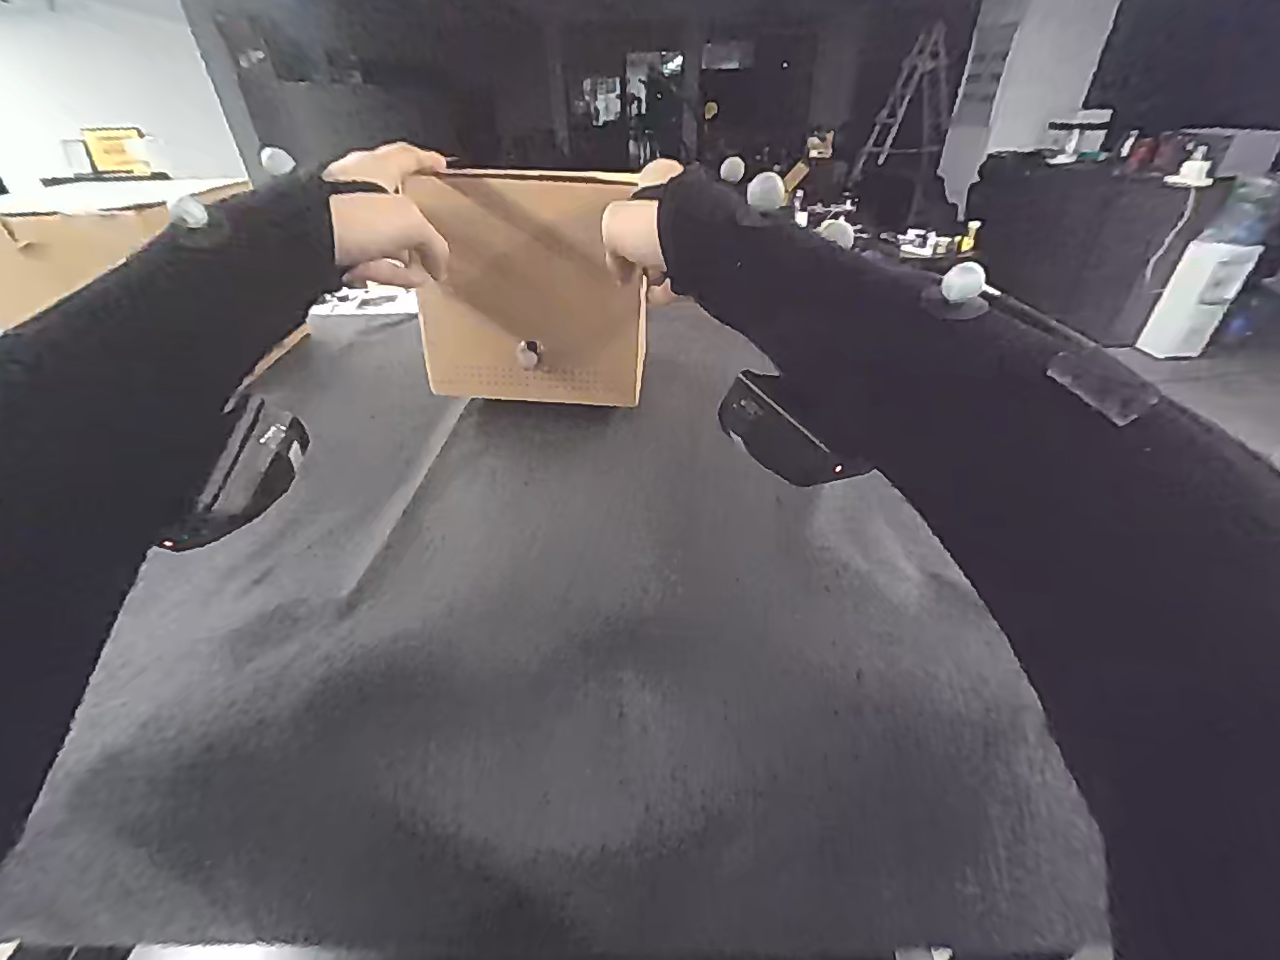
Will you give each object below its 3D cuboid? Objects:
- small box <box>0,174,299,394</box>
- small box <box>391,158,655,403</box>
[{"bbox_3d":[-0.477,-0.192,0.533,0.168,0.176,0.179,-3,36,-3],"label":"small box"},{"bbox_3d":[-0.083,-0.174,0.470,0.179,0.176,0.168,4,29,1],"label":"small box"}]
